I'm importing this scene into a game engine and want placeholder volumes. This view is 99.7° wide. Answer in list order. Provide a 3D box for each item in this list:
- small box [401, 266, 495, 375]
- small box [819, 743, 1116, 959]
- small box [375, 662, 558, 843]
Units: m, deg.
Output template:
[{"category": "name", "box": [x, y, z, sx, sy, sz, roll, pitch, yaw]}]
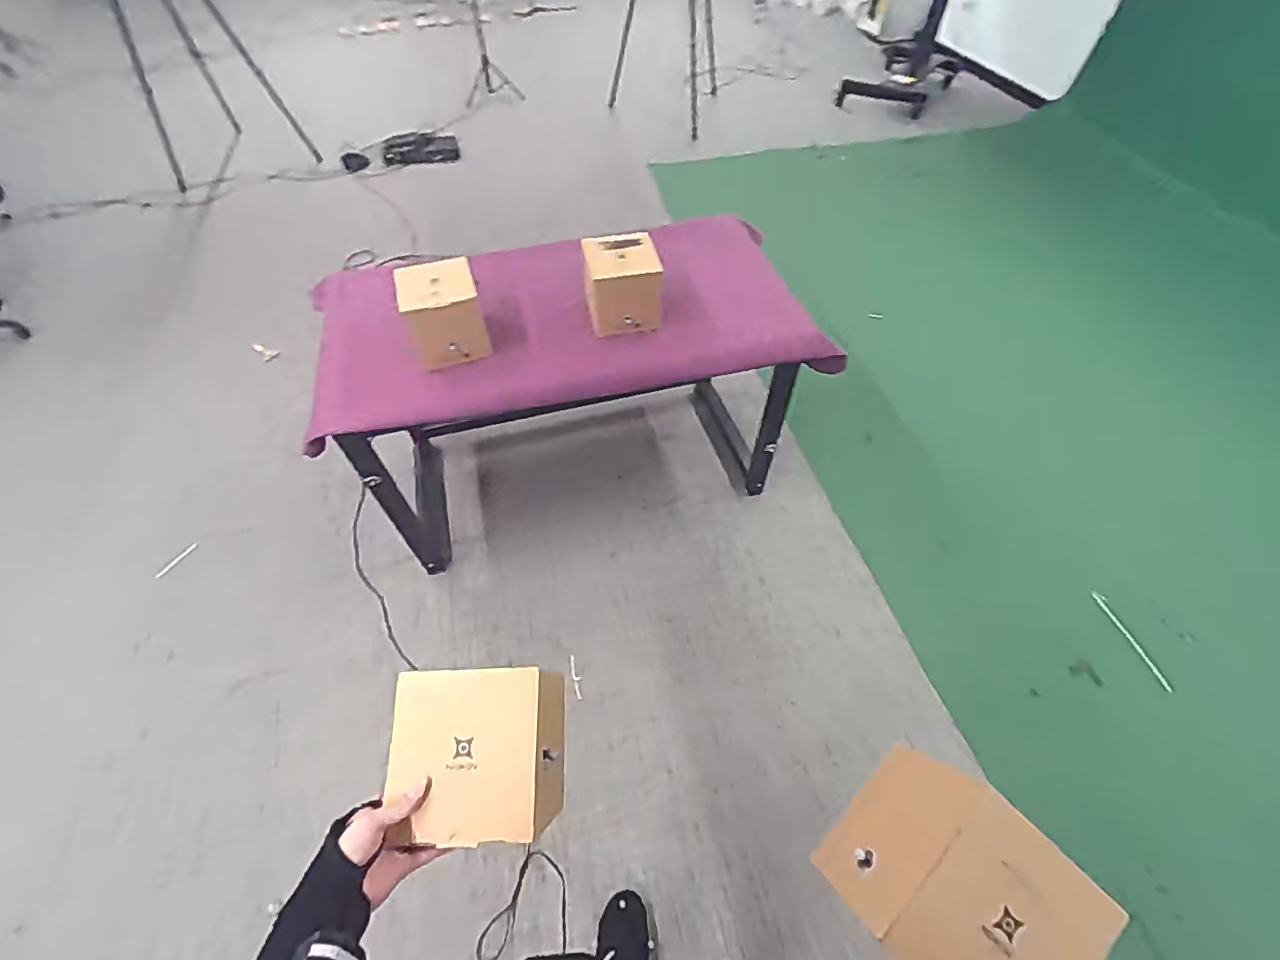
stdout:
[{"category": "small box", "box": [-0.456, -0.379, 1.293, 0.168, 0.176, 0.179, -16, 54, -11]}, {"category": "small box", "box": [0.312, 0.413, 0.560, 0.168, 0.176, 0.179, 43, 77, 7]}, {"category": "small box", "box": [-0.197, 0.324, 0.667, 0.168, 0.176, 0.179, -3, 69, 1]}]
